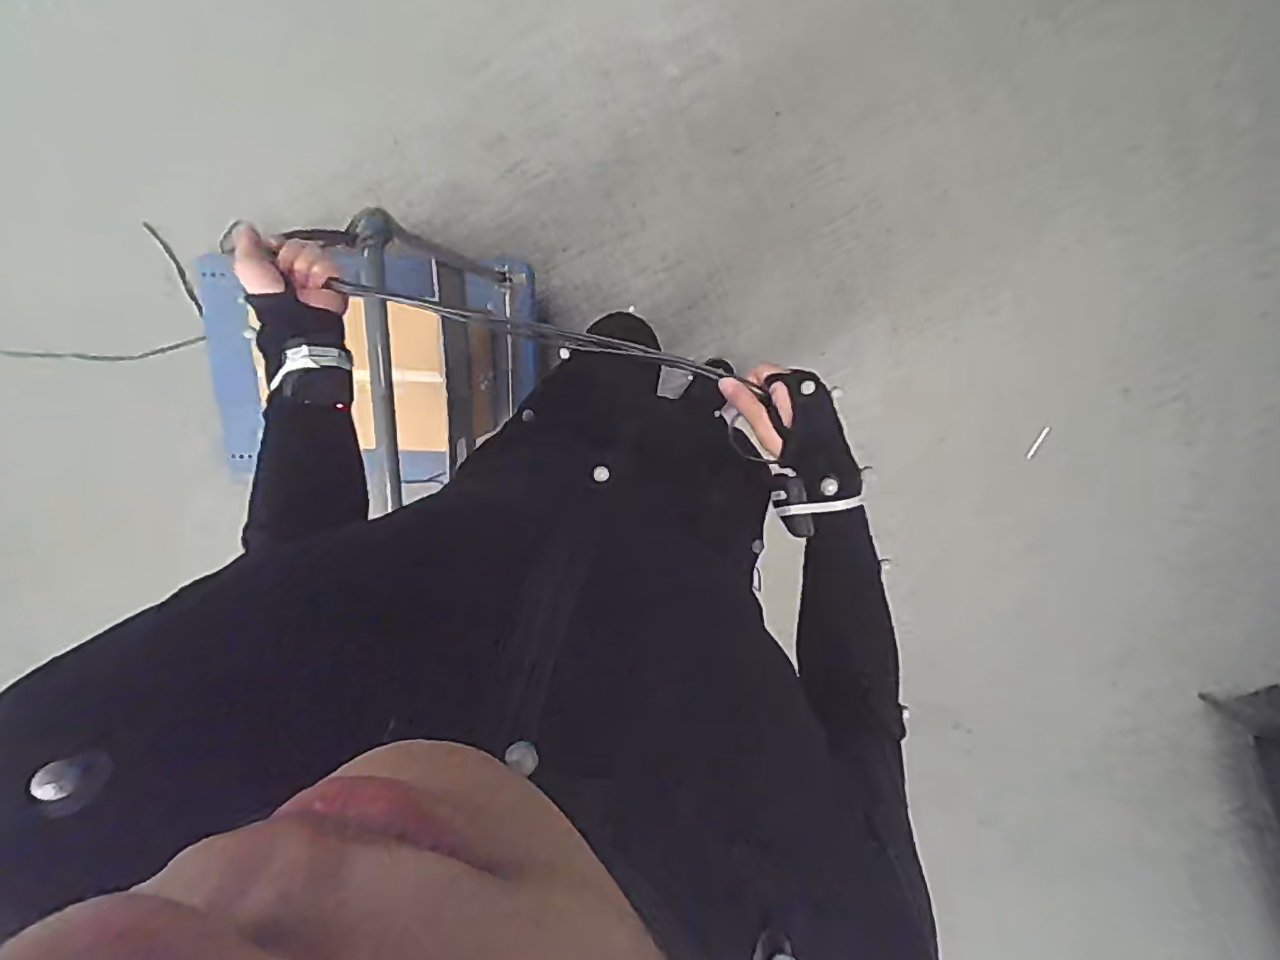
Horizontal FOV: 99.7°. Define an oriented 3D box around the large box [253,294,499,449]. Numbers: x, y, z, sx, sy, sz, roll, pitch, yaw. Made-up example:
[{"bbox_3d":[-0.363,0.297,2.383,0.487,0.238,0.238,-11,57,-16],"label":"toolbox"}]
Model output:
[{"bbox_3d":[-0.578,-0.257,1.260,0.408,0.320,0.320,3,103,4],"label":"large box"}]
